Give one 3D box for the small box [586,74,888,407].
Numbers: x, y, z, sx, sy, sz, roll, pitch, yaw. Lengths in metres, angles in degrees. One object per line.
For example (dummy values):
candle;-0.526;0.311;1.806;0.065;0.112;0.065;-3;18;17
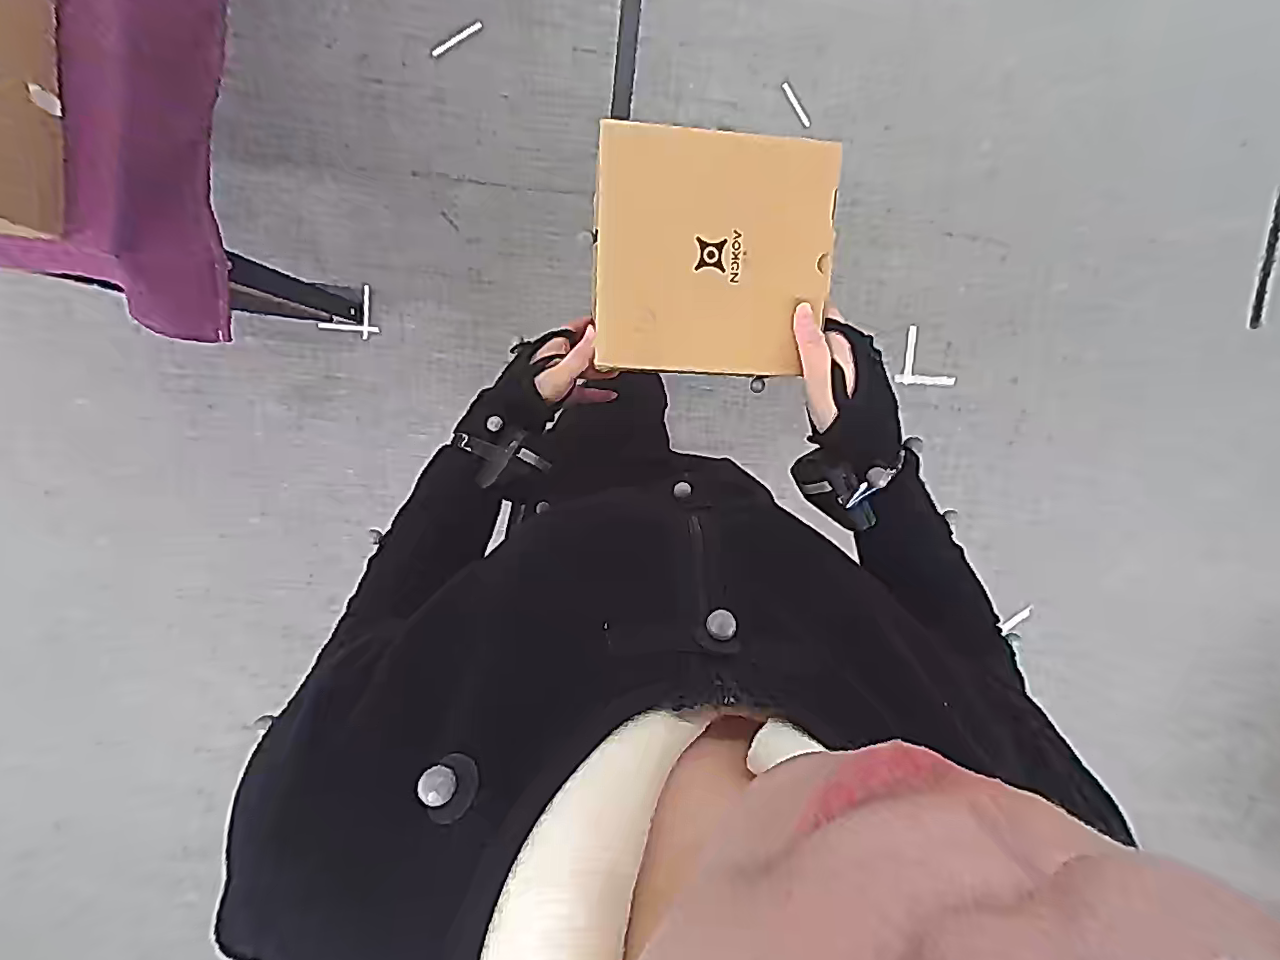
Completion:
small box;0.068;-0.165;0.432;0.168;0.176;0.179;-4;83;-25
